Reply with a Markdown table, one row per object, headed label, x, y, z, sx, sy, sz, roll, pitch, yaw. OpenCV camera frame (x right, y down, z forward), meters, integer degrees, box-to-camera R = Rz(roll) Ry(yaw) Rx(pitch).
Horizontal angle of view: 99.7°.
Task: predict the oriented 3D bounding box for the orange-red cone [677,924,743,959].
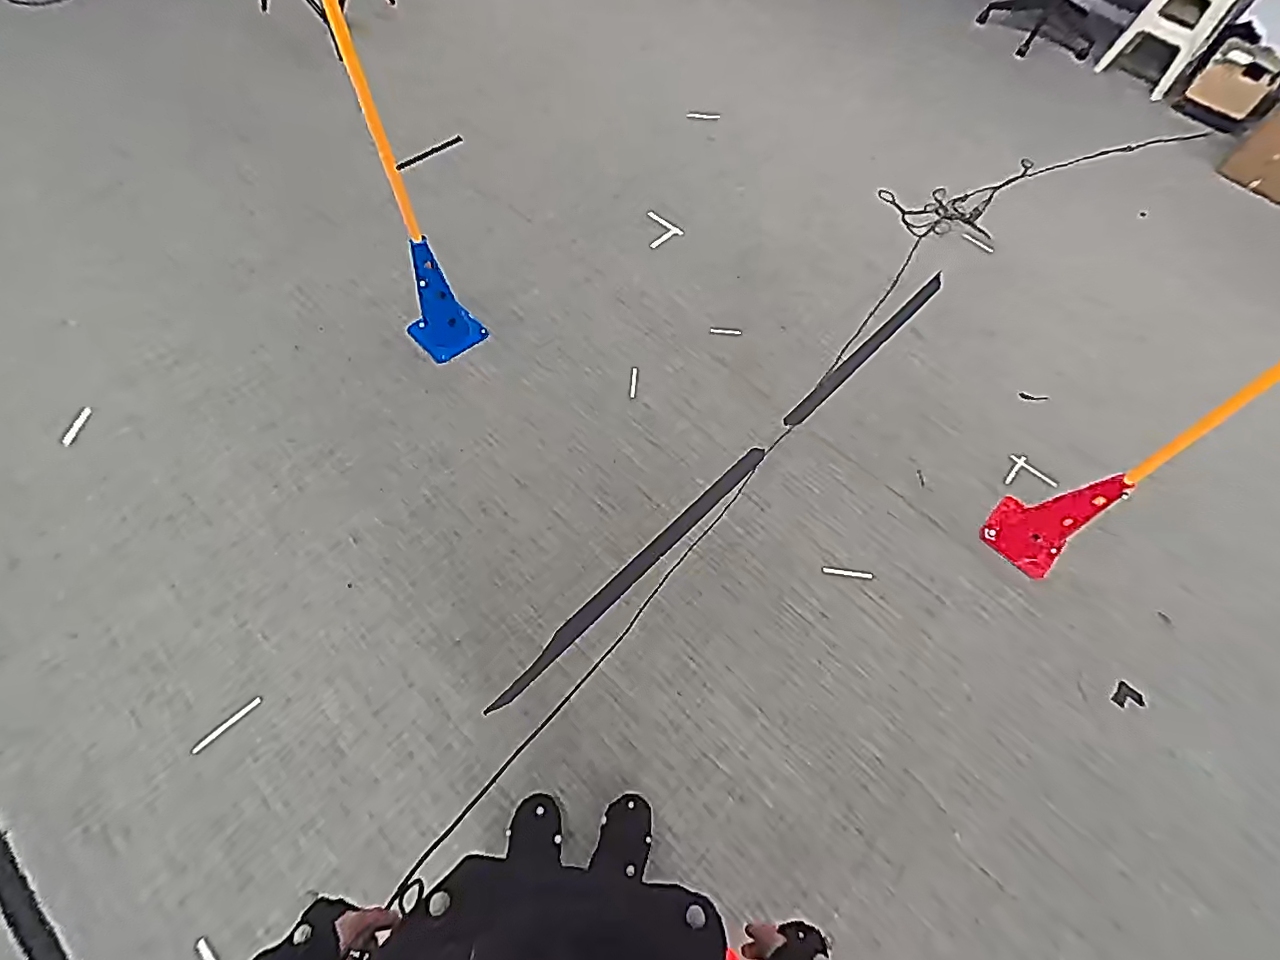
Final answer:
| label | x | y | z | sx | sy | sz | roll | pitch | yaw |
| --- | --- | --- | --- | --- | --- | --- | --- | --- | --- |
| orange-red cone | 0.148 | 0.927 | 0.879 | 0.199 | 0.360 | 0.198 | -39 | 71 | -21 |

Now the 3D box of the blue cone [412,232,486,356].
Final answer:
| label | x | y | z | sx | sy | sz | roll | pitch | yaw |
| --- | --- | --- | --- | --- | --- | --- | --- | --- | --- |
| blue cone | -0.618 | -0.574 | 1.634 | 0.192 | 0.380 | 0.193 | -38 | 71 | -22 |
